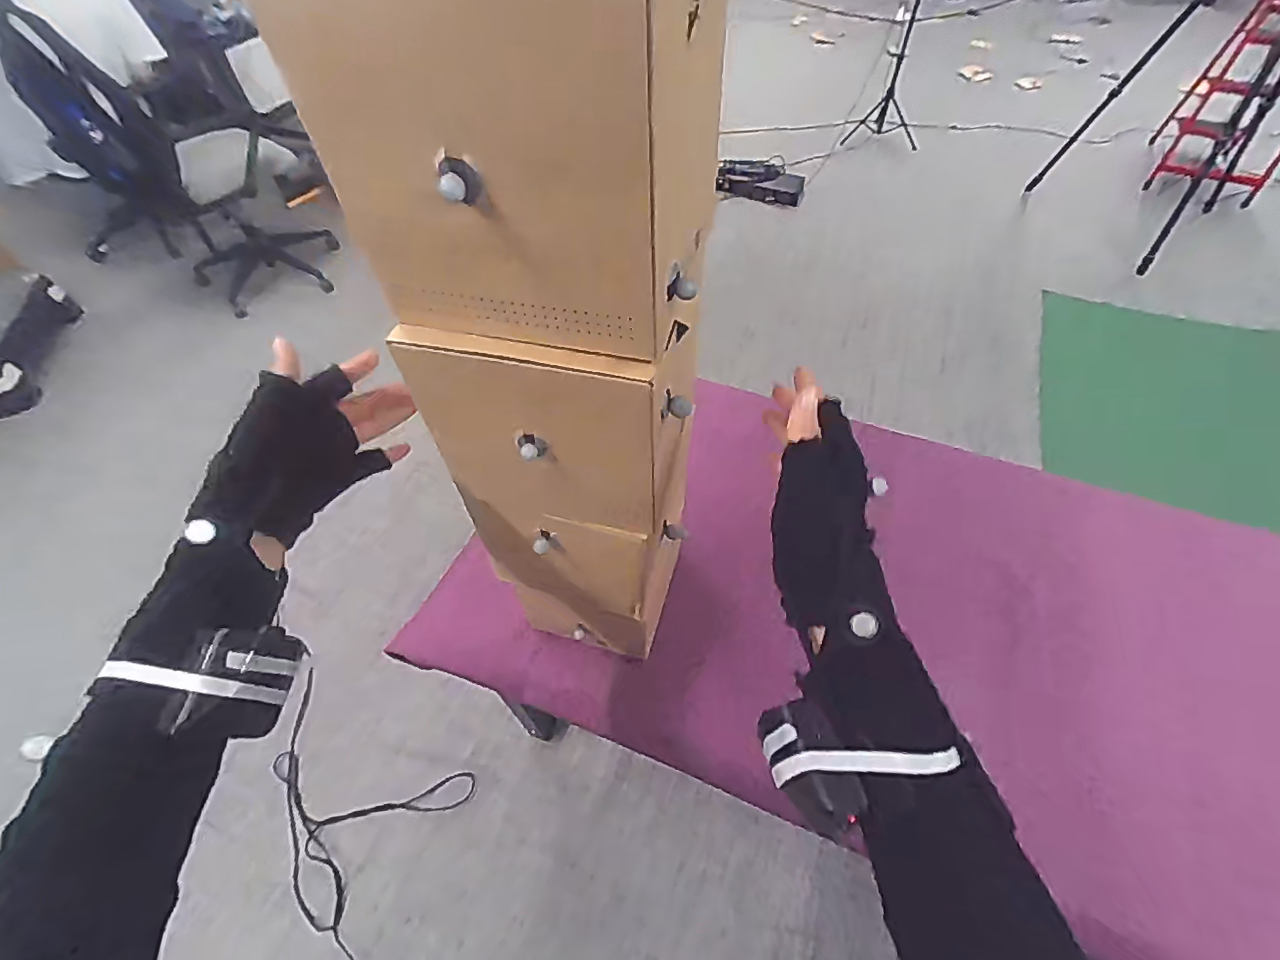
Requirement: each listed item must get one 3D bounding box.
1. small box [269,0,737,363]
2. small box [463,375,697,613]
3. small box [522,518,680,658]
[{"bbox_3d":[-0.048,-0.191,0.317,0.179,0.176,0.168,12,54,11],"label":"small box"},{"bbox_3d":[-0.050,0.021,0.571,0.179,0.176,0.168,15,54,11],"label":"small box"},{"bbox_3d":[-0.049,0.105,0.711,0.168,0.176,0.179,15,54,10],"label":"small box"}]
